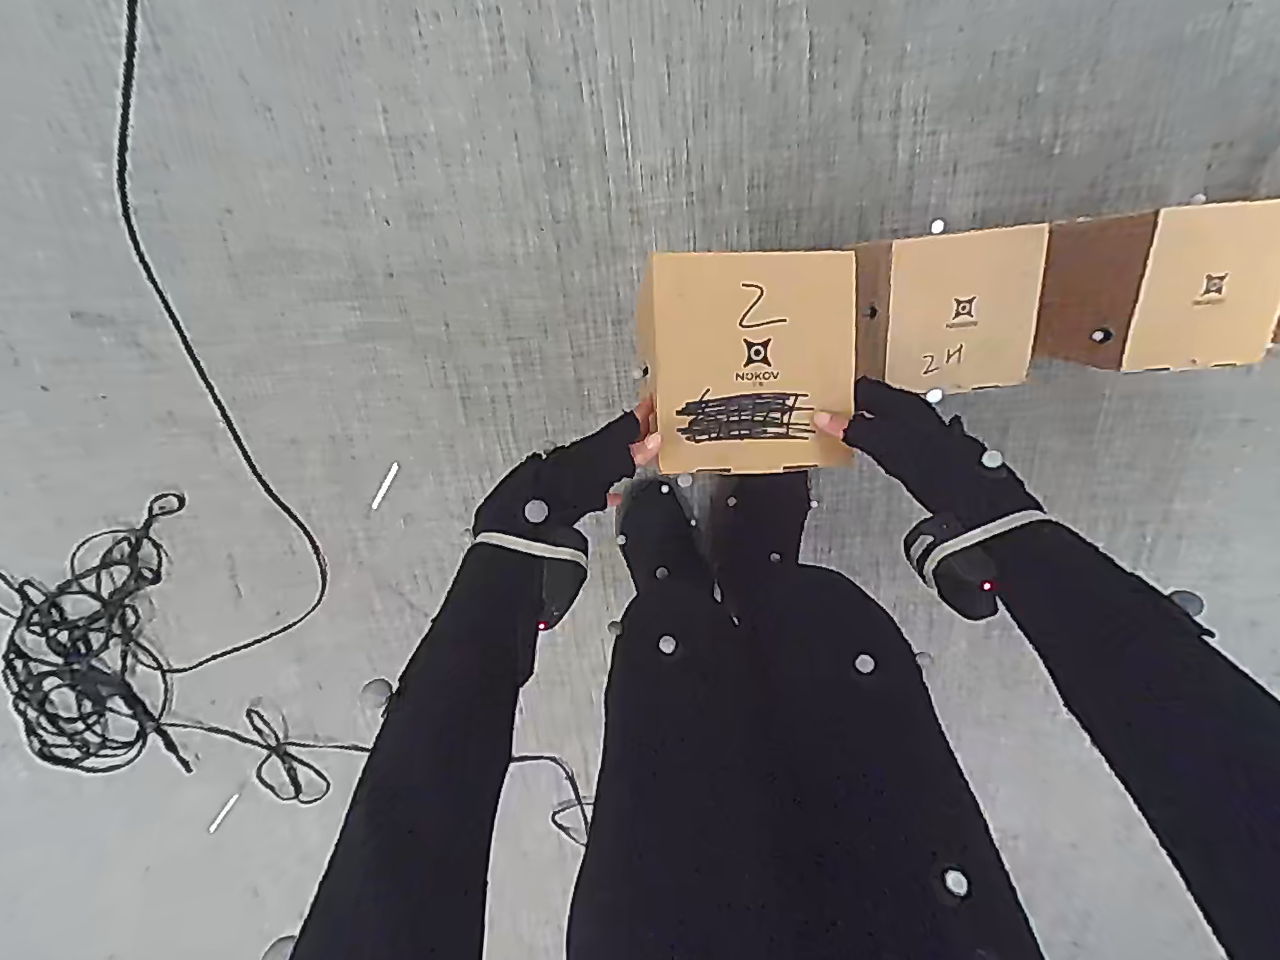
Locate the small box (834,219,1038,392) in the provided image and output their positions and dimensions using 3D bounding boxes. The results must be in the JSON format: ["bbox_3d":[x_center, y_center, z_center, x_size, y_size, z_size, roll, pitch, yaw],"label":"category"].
[{"bbox_3d":[0.354,-0.219,0.683,0.168,0.176,0.179,-4,112,4],"label":"small box"}]

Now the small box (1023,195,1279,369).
[{"bbox_3d":[0.621,-0.243,0.674,0.168,0.176,0.179,-3,112,2],"label":"small box"}]
